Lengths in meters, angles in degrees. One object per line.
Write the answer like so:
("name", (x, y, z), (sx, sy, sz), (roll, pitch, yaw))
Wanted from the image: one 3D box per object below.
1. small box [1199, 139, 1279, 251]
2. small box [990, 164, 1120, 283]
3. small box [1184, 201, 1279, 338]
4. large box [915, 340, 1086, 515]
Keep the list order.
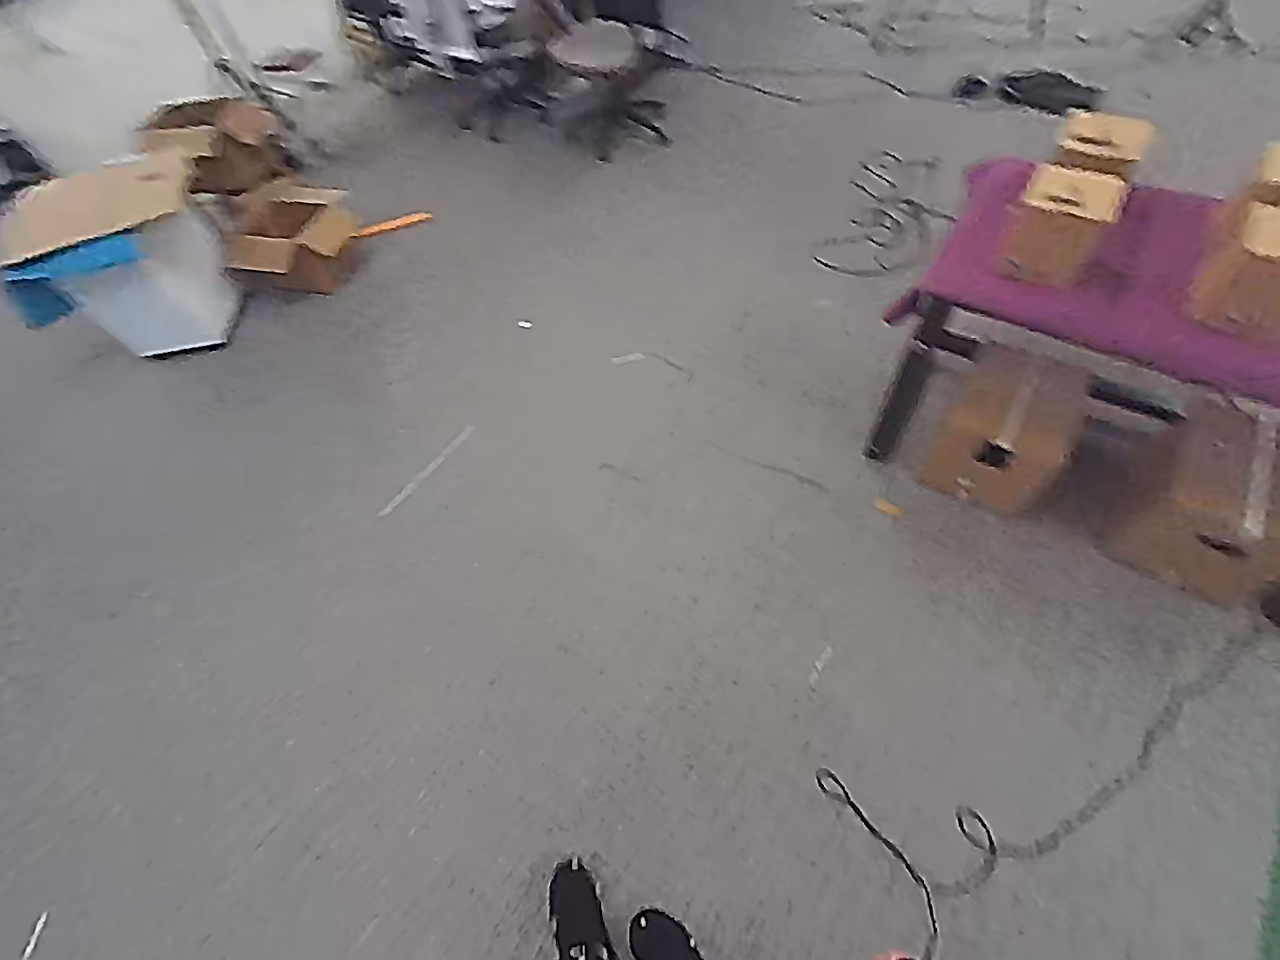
("small box", (1.393, -0.605, 1.185), (0.168, 0.176, 0.179), (28, 65, 23))
("small box", (0.927, -0.576, 1.223), (0.168, 0.176, 0.179), (26, 62, 22))
("small box", (1.246, -0.418, 1.078), (0.168, 0.176, 0.179), (26, 63, 23))
("large box", (1.134, -0.166, 1.724), (0.320, 0.320, 0.408), (26, 62, 22))
